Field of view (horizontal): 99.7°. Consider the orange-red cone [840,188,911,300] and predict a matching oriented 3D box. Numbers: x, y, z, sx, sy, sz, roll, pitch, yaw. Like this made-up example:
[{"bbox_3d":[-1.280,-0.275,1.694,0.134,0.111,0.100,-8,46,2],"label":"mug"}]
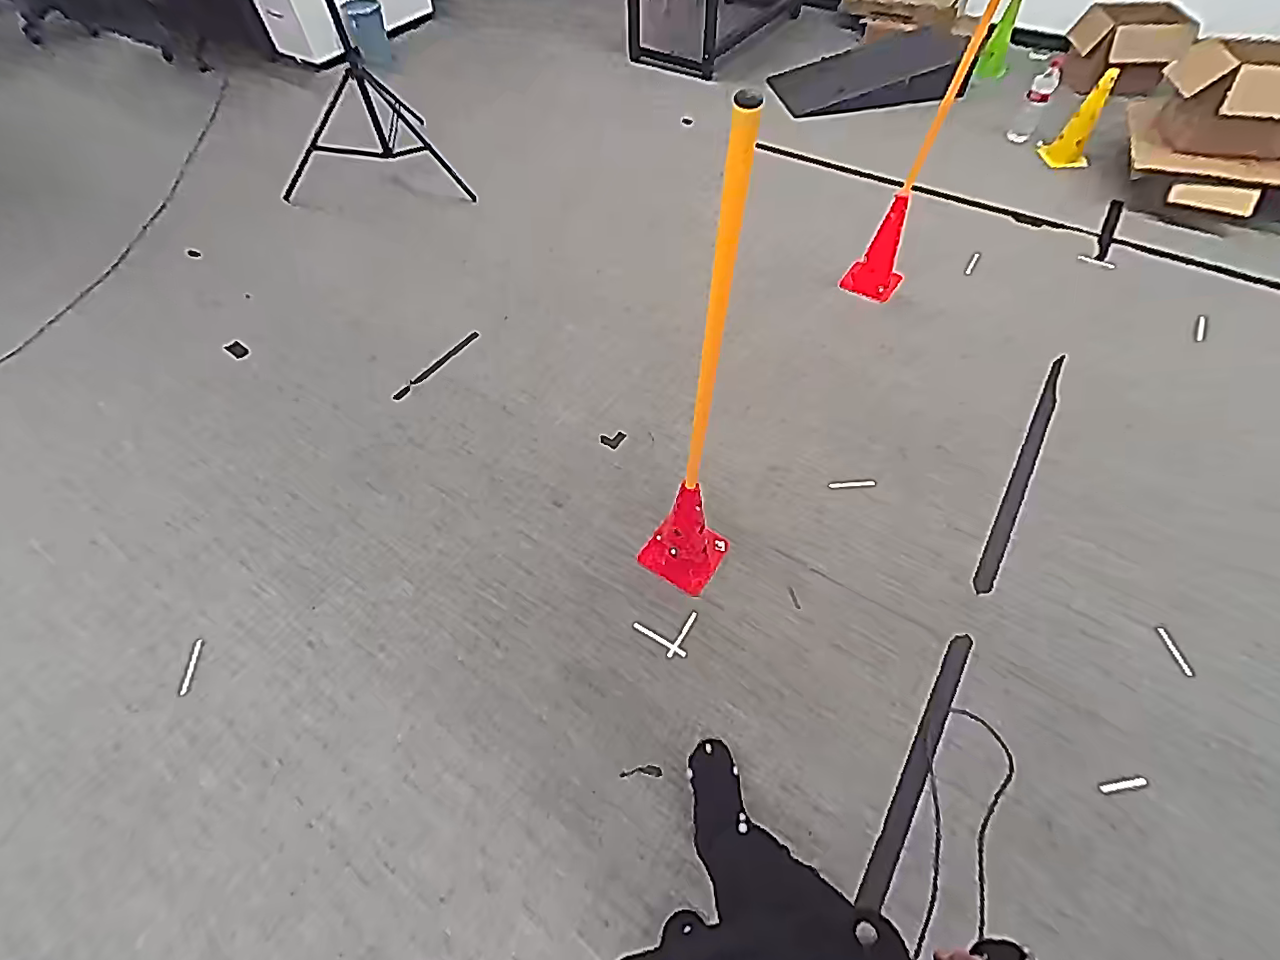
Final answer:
[{"bbox_3d":[0.907,-0.886,1.986,0.198,0.360,0.199,32,62,20],"label":"orange-red cone"}]
